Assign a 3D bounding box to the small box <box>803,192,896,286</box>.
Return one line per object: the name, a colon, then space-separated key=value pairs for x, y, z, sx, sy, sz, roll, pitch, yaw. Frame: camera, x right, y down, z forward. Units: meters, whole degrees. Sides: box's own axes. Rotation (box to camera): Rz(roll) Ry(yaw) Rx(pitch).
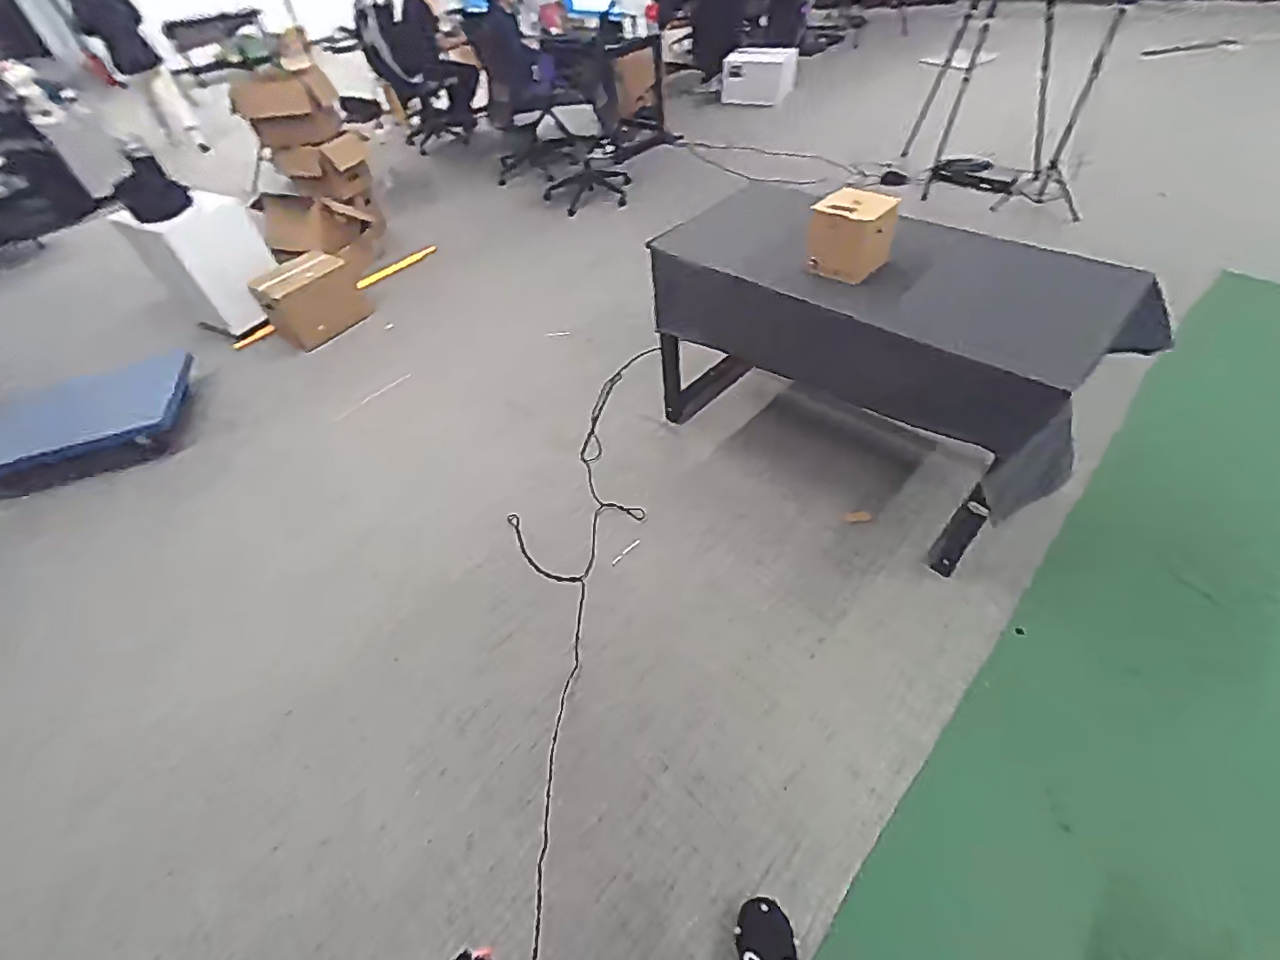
small box: x=0.559 y=-0.651 z=1.465 sx=0.168 sy=0.176 sz=0.179 roll=33 pitch=58 yaw=31
